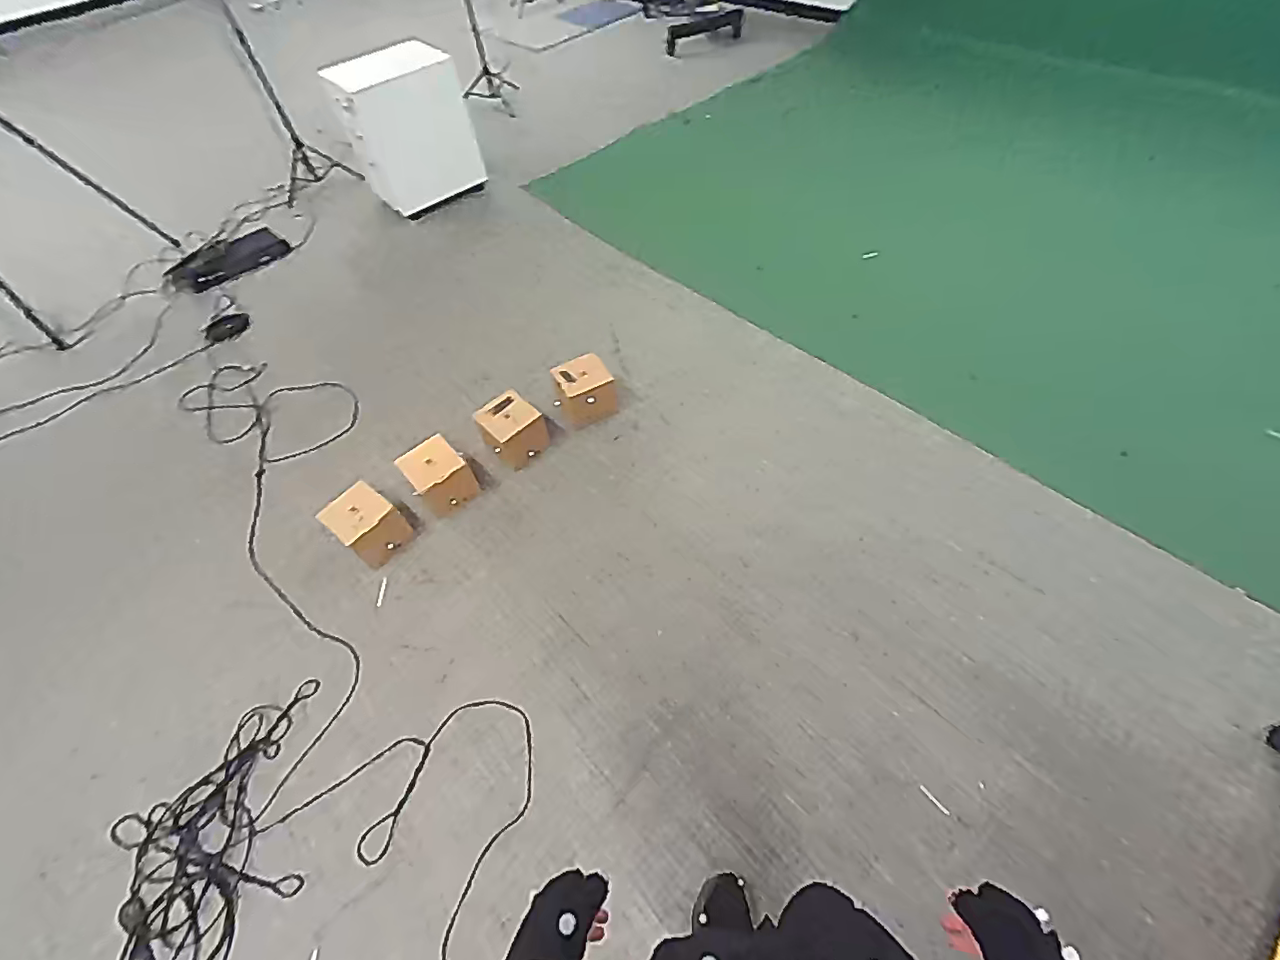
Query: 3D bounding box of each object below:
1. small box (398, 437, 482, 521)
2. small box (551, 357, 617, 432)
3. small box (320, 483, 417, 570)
[{"bbox_3d":[-0.643,0.002,1.751,0.168,0.176,0.179,-39,61,-21],"label":"small box"},{"bbox_3d":[-0.193,-0.302,1.928,0.179,0.176,0.168,-25,56,-14],"label":"small box"},{"bbox_3d":[-0.828,0.146,1.660,0.179,0.176,0.168,32,64,24],"label":"small box"}]
